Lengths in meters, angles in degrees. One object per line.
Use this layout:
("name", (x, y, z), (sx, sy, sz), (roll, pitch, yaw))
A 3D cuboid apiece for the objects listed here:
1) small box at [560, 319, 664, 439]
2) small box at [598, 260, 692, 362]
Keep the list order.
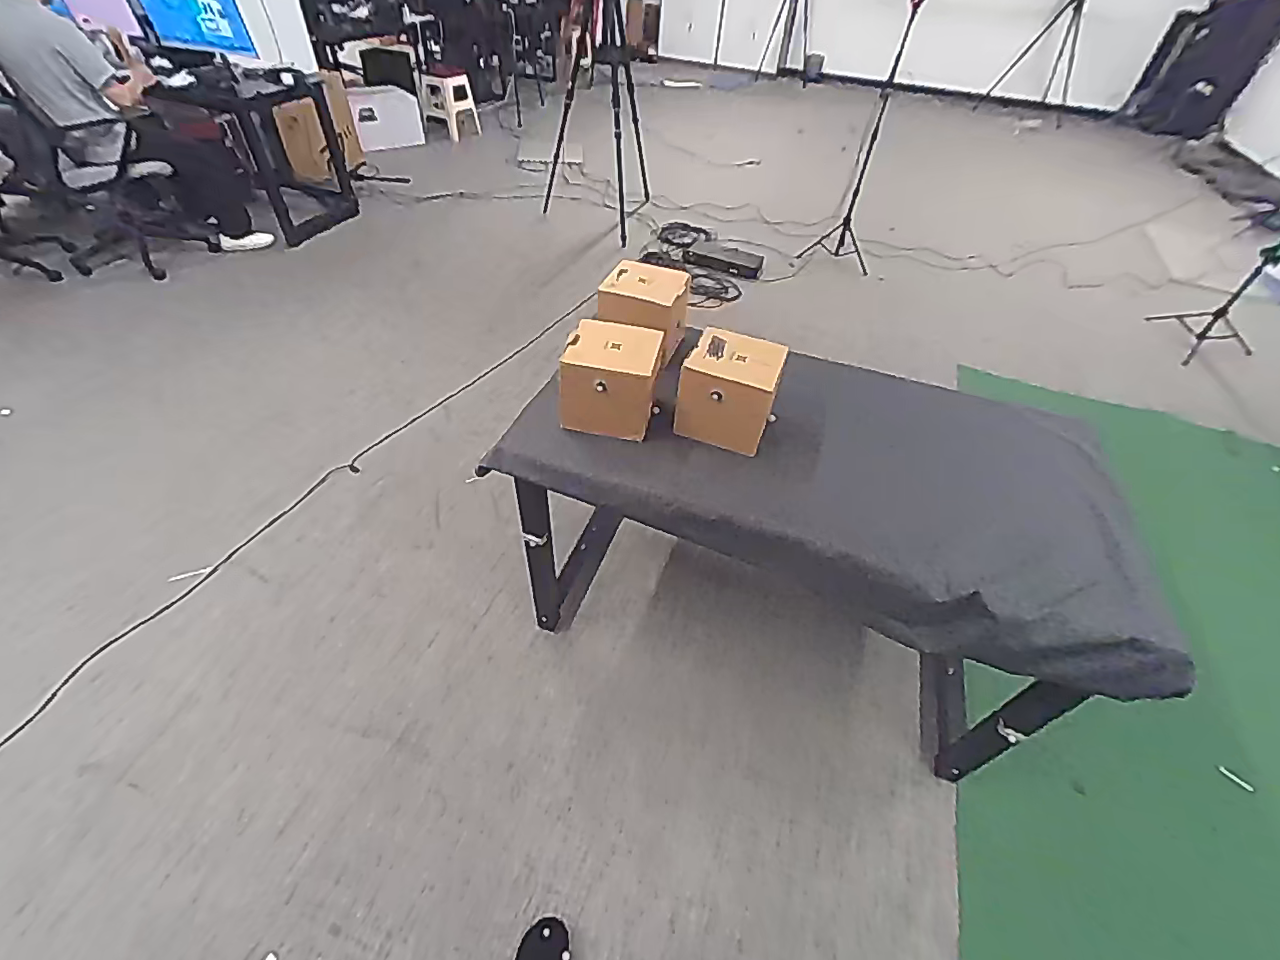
("small box", (-0.056, -0.205, 1.109), (0.179, 0.176, 0.168), (11, 47, 4))
("small box", (0.008, -0.397, 1.298), (0.179, 0.176, 0.168), (17, 48, 11))
